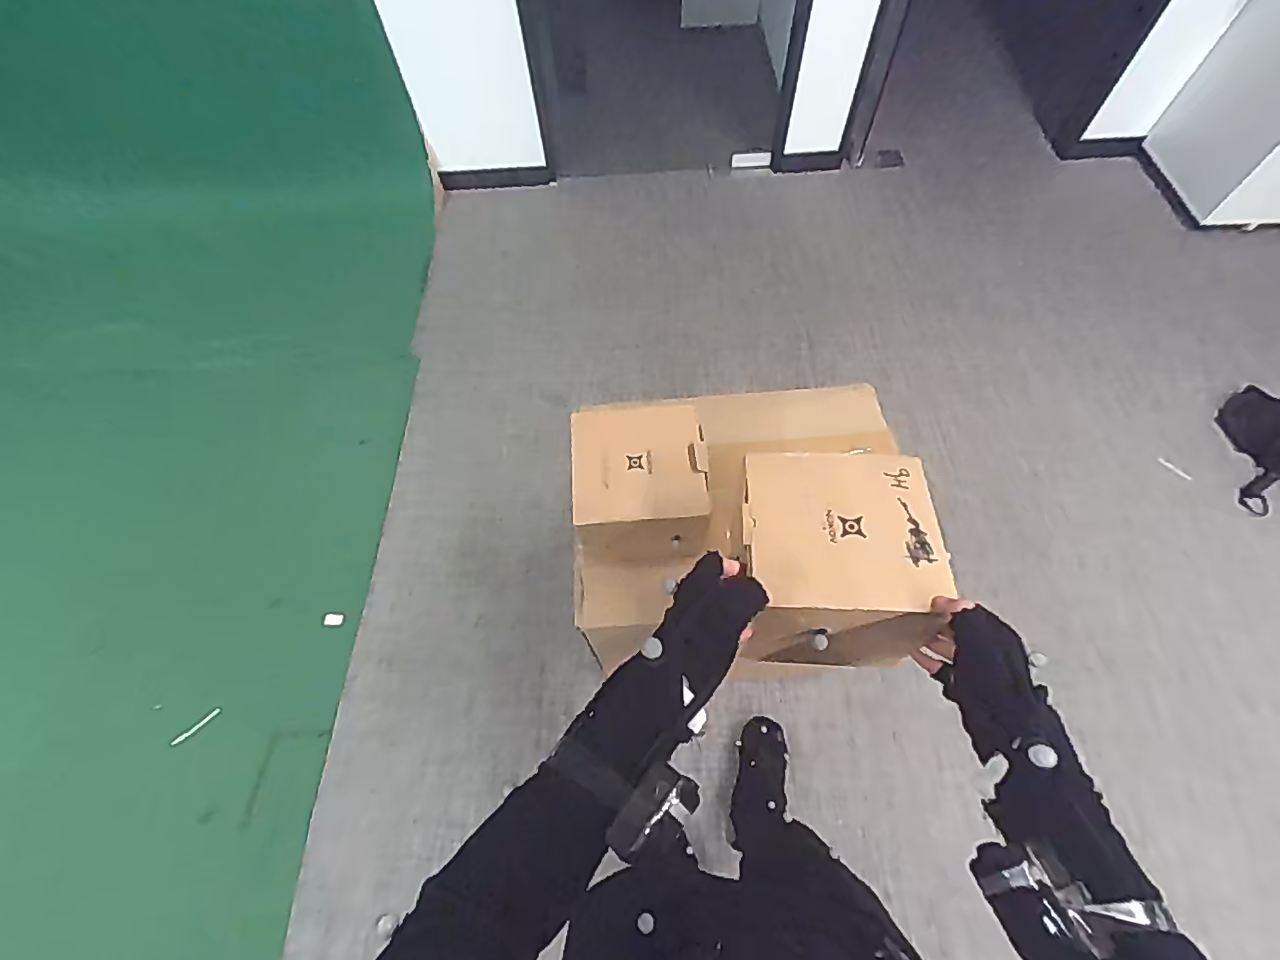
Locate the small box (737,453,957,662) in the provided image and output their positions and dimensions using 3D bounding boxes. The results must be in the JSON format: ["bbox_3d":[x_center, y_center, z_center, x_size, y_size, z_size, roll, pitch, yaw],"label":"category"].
[{"bbox_3d":[0.196,0.087,0.577,0.179,0.176,0.168,1,55,5],"label":"small box"}]

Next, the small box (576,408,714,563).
[{"bbox_3d":[0.005,0.015,0.781,0.179,0.176,0.168,-5,64,1],"label":"small box"}]
